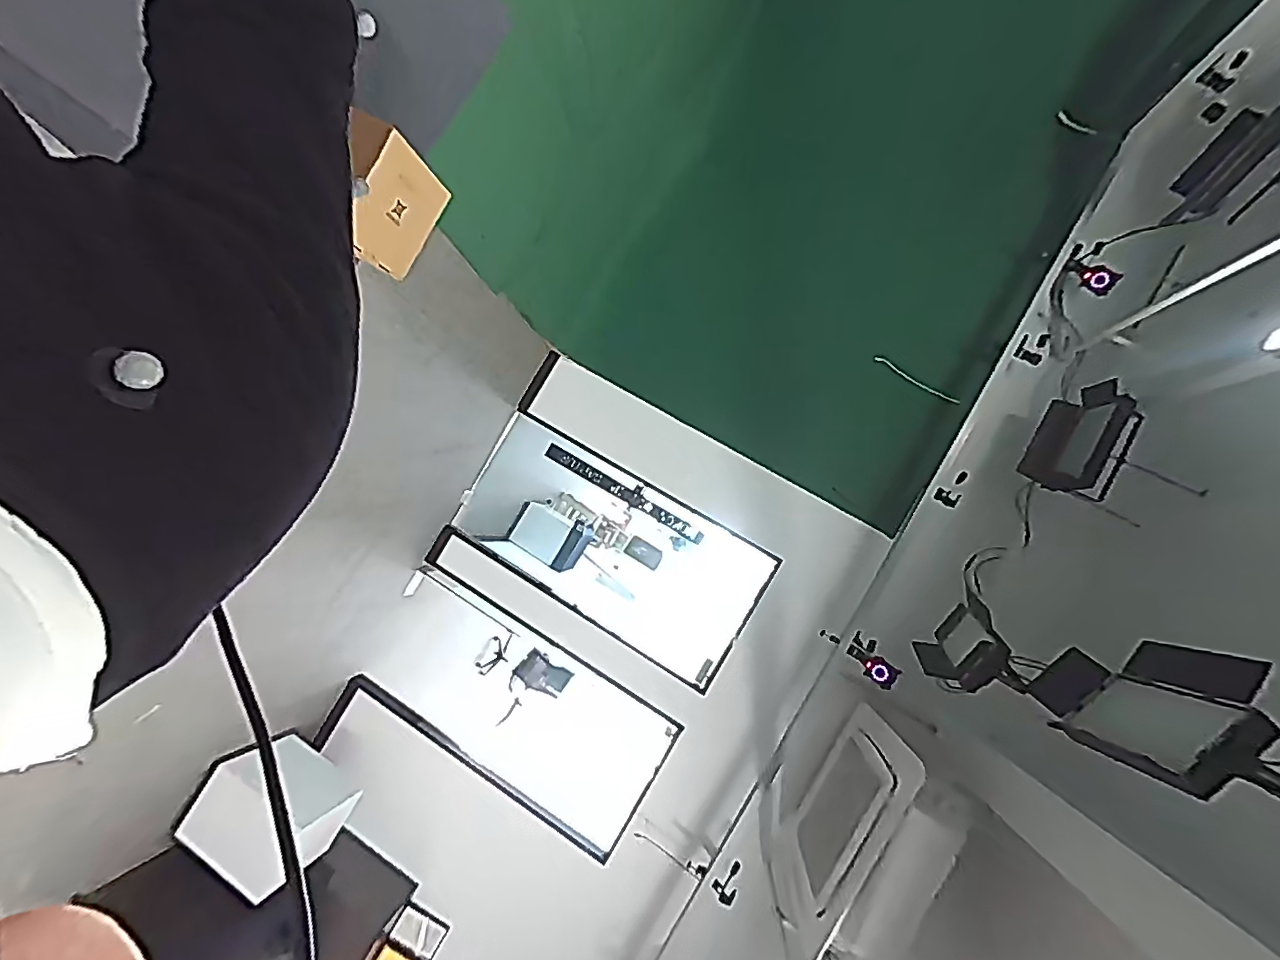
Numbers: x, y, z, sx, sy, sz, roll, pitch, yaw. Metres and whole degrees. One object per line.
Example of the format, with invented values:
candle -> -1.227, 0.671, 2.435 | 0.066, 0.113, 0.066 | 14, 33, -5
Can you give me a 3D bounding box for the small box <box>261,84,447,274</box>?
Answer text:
small box -> -0.454, -0.473, 0.864 | 0.179, 0.176, 0.168 | -60, 171, 0
